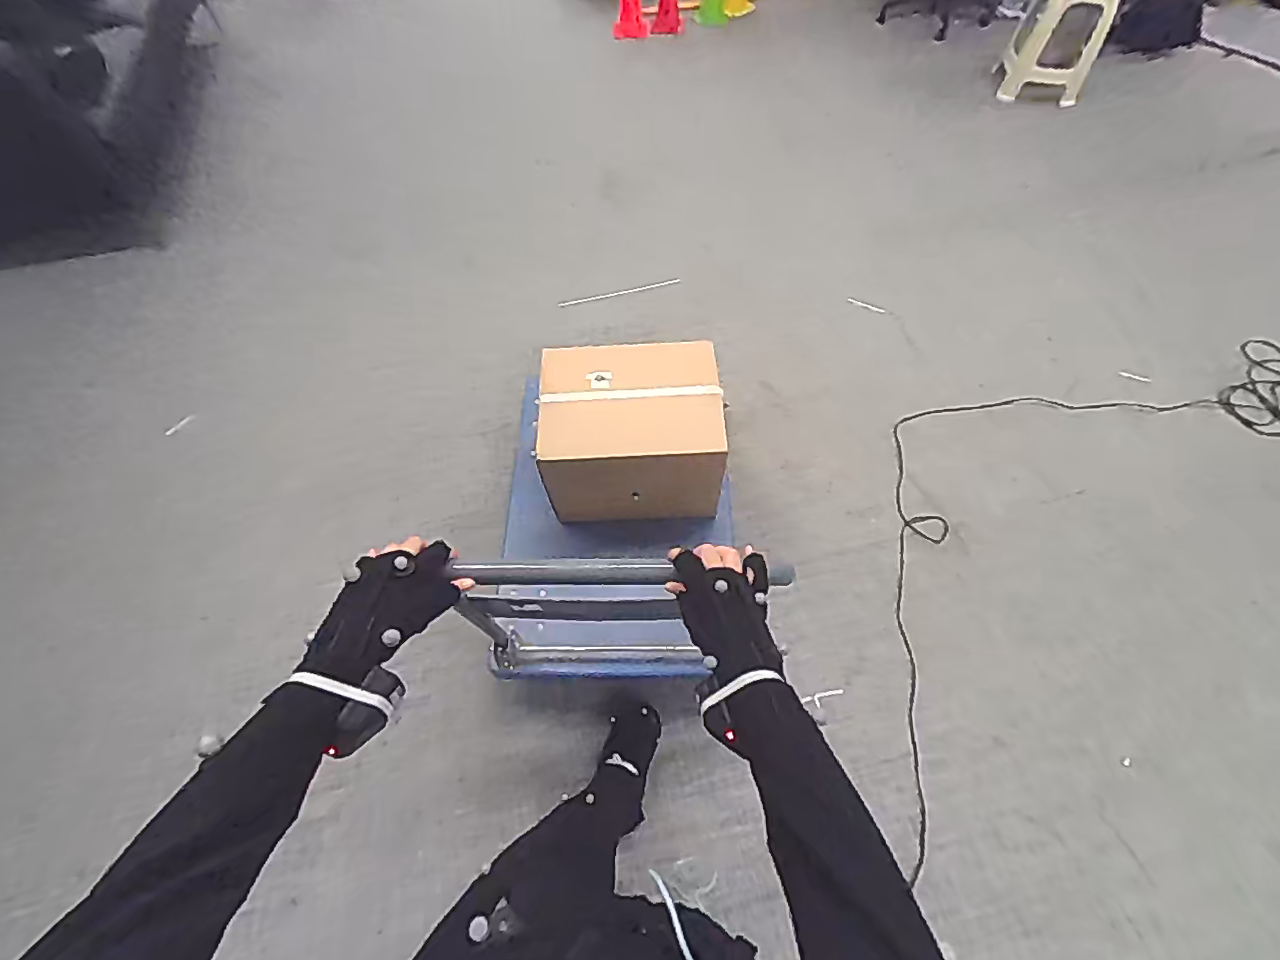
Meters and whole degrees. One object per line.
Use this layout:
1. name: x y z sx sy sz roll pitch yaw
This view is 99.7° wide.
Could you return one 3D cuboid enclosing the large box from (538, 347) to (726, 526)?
1. large box: -0.015 -0.094 1.331 0.408 0.320 0.320 -3 59 2
